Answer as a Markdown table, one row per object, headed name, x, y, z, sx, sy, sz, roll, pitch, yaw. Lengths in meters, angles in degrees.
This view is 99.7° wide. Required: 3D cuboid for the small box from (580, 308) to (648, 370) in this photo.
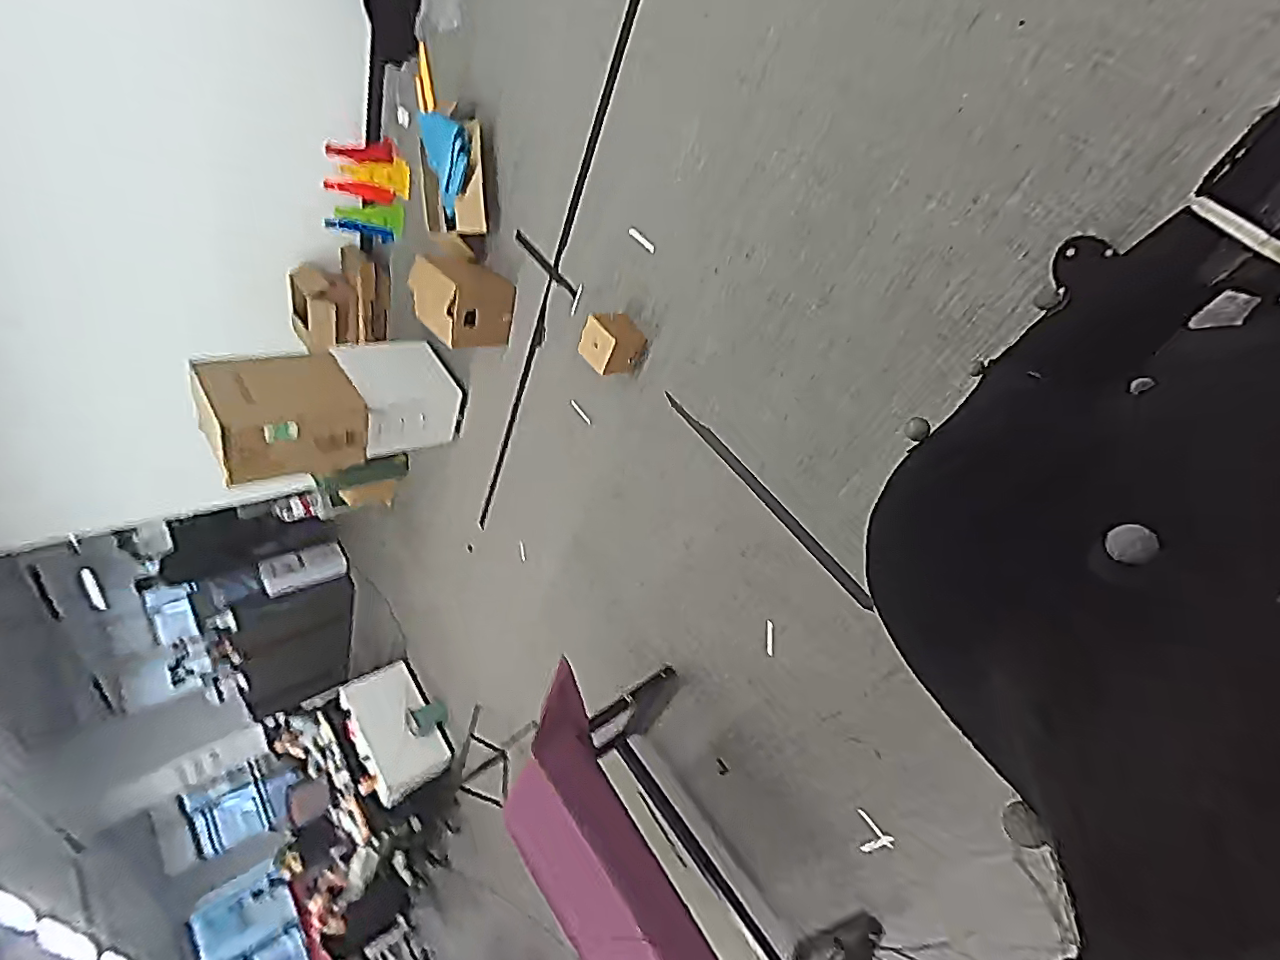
| name | x | y | z | sx | sy | sz | roll | pitch | yaw |
| --- | --- | --- | --- | --- | --- | --- | --- | --- | --- |
| small box | -0.101 | -0.552 | 2.107 | 0.179 | 0.176 | 0.168 | 49 | 134 | 23 |
